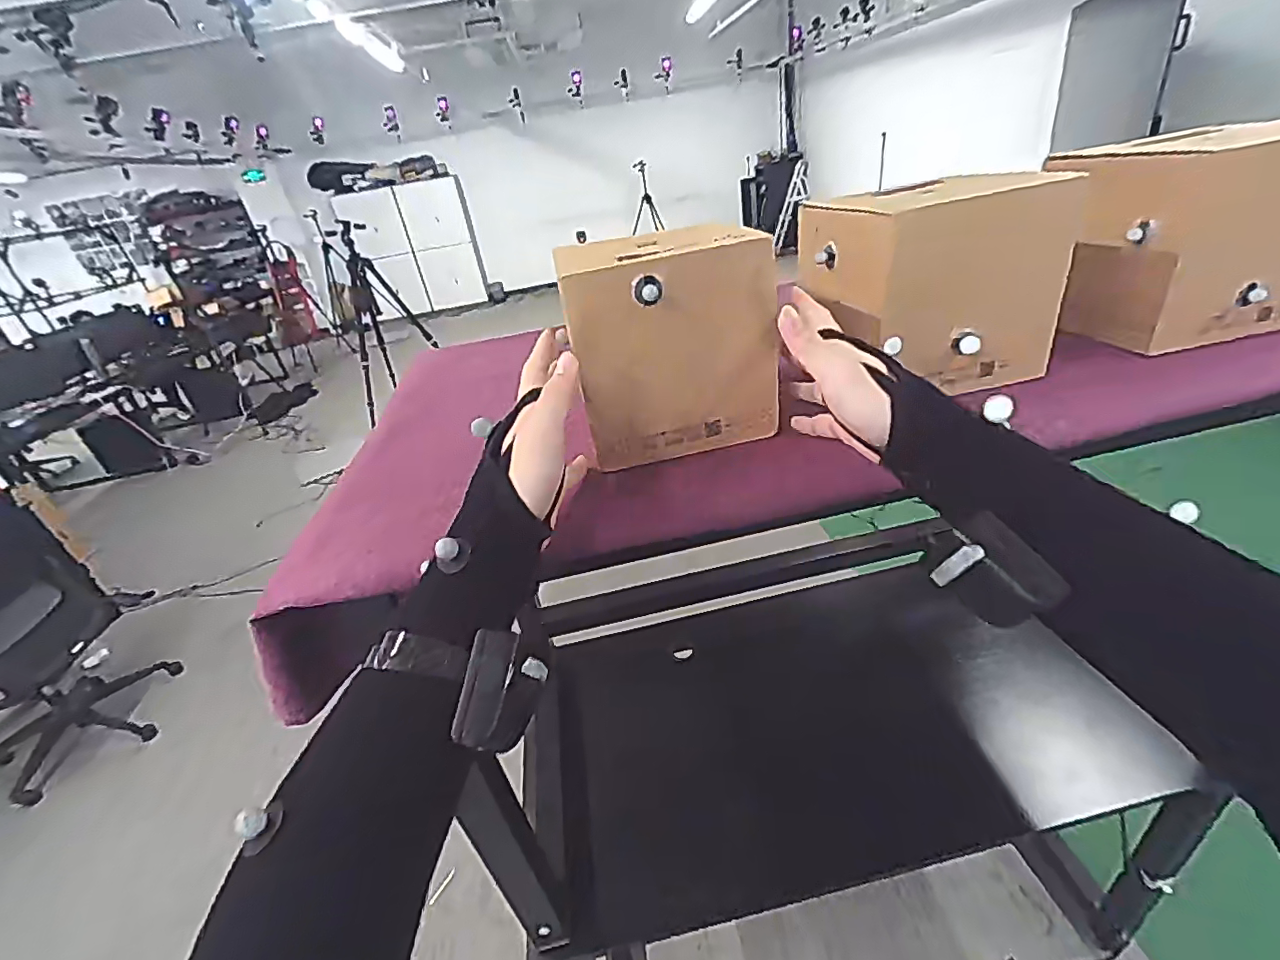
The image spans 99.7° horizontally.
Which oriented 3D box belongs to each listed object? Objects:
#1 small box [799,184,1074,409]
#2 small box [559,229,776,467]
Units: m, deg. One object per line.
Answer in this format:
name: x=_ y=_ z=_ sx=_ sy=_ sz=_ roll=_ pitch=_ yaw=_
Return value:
small box: x=0.266 y=-0.186 z=0.538 sx=0.168 sy=0.176 sz=0.179 roll=-12 pitch=31 yaw=-3
small box: x=0.021 y=-0.132 z=0.517 sx=0.168 sy=0.176 sz=0.179 roll=-13 pitch=29 yaw=-4
